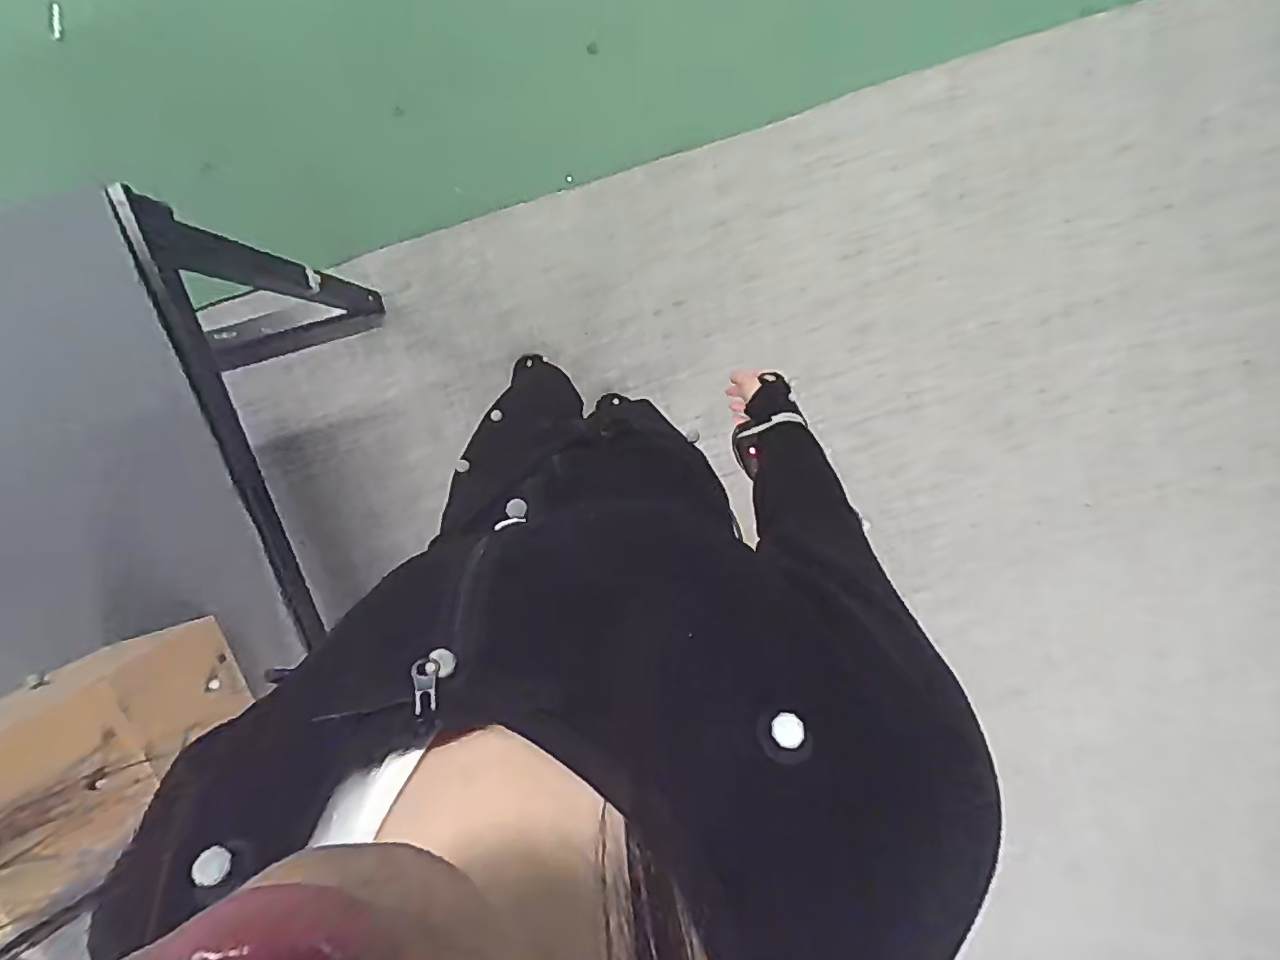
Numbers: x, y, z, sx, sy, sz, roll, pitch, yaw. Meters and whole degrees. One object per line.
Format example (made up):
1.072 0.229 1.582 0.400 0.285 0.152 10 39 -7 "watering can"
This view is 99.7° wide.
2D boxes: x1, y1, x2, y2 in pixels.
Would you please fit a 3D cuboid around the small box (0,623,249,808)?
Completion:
-0.669 0.312 0.701 0.179 0.176 0.168 -17 100 2 "small box"

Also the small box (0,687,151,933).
-0.666 0.339 0.541 0.179 0.176 0.168 -17 99 2 "small box"
